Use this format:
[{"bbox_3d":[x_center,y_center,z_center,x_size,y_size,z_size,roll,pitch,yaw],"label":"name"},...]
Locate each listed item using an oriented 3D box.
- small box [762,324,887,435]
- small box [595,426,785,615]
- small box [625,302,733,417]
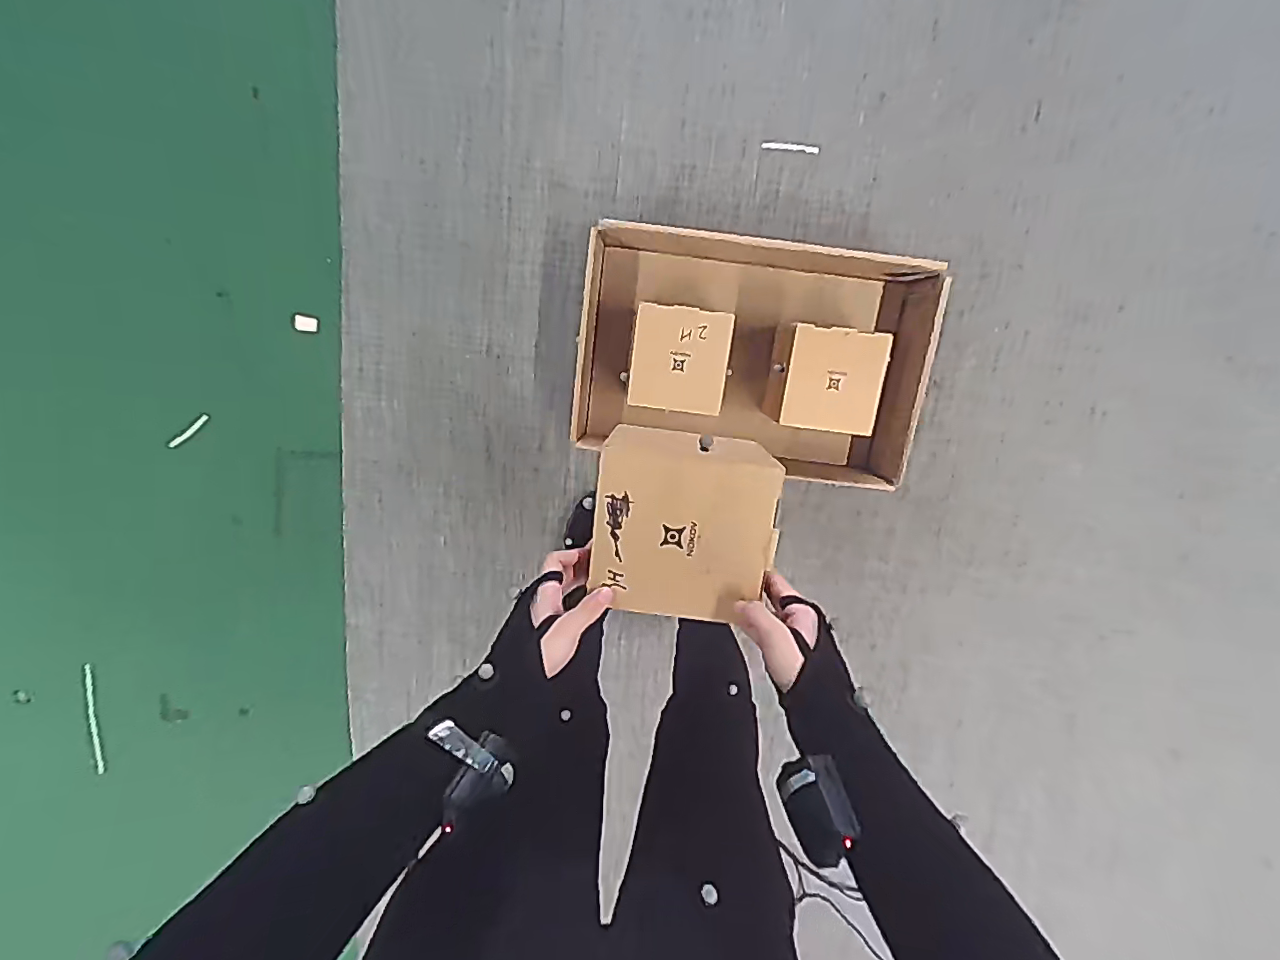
[{"bbox_3d":[0.334,-0.192,1.016,0.168,0.176,0.179,7,103,0],"label":"small box"},{"bbox_3d":[0.048,0.035,0.618,0.179,0.176,0.168,6,103,0],"label":"small box"},{"bbox_3d":[0.067,-0.225,1.010,0.168,0.176,0.179,7,103,-2],"label":"small box"}]
